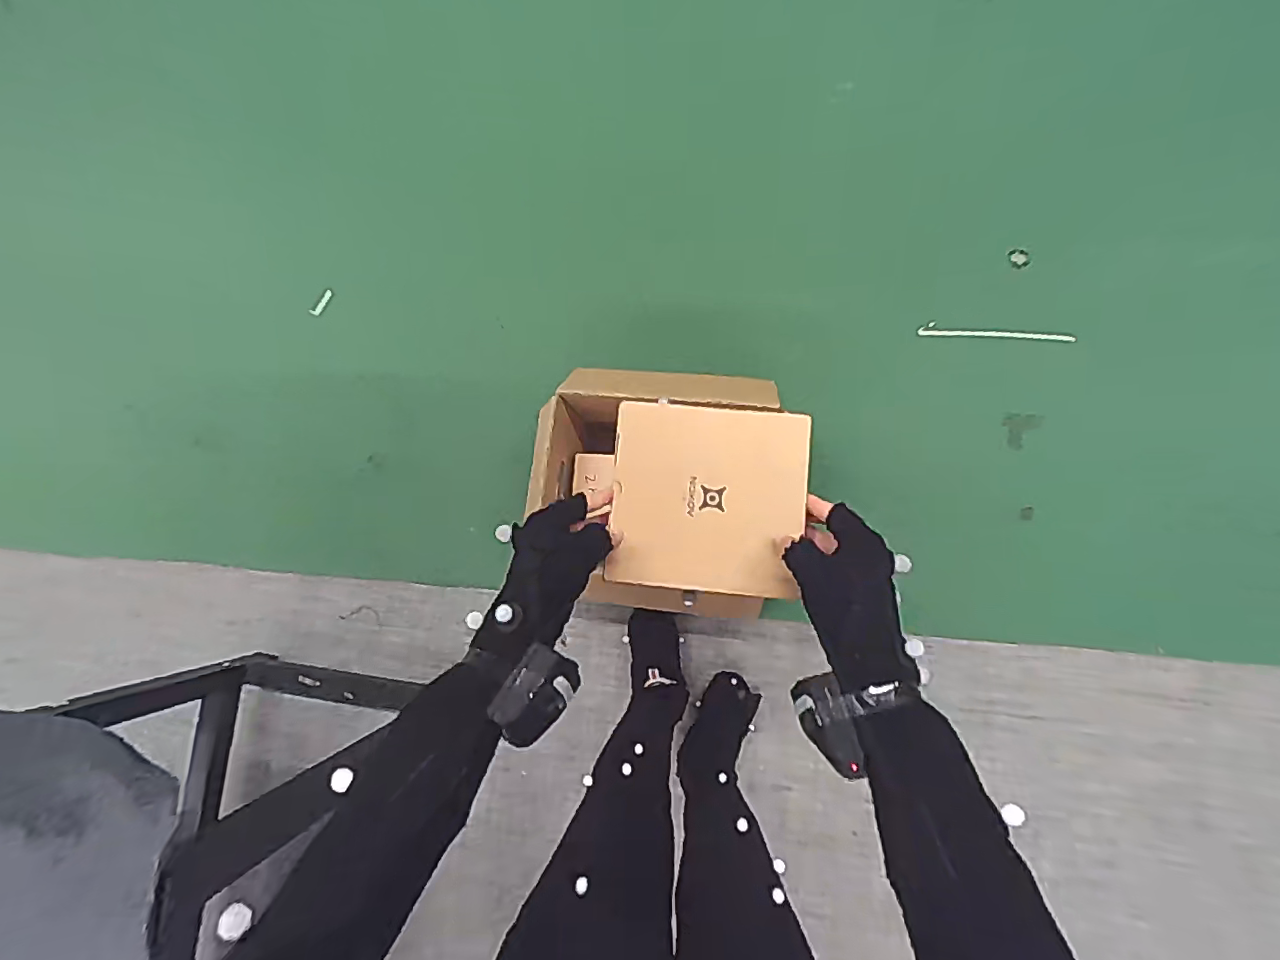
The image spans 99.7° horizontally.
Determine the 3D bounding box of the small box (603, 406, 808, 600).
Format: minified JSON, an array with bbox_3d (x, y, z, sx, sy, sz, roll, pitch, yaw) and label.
[{"bbox_3d":[0.065,0.027,0.570,0.179,0.176,0.168,5,84,5],"label":"small box"}]
